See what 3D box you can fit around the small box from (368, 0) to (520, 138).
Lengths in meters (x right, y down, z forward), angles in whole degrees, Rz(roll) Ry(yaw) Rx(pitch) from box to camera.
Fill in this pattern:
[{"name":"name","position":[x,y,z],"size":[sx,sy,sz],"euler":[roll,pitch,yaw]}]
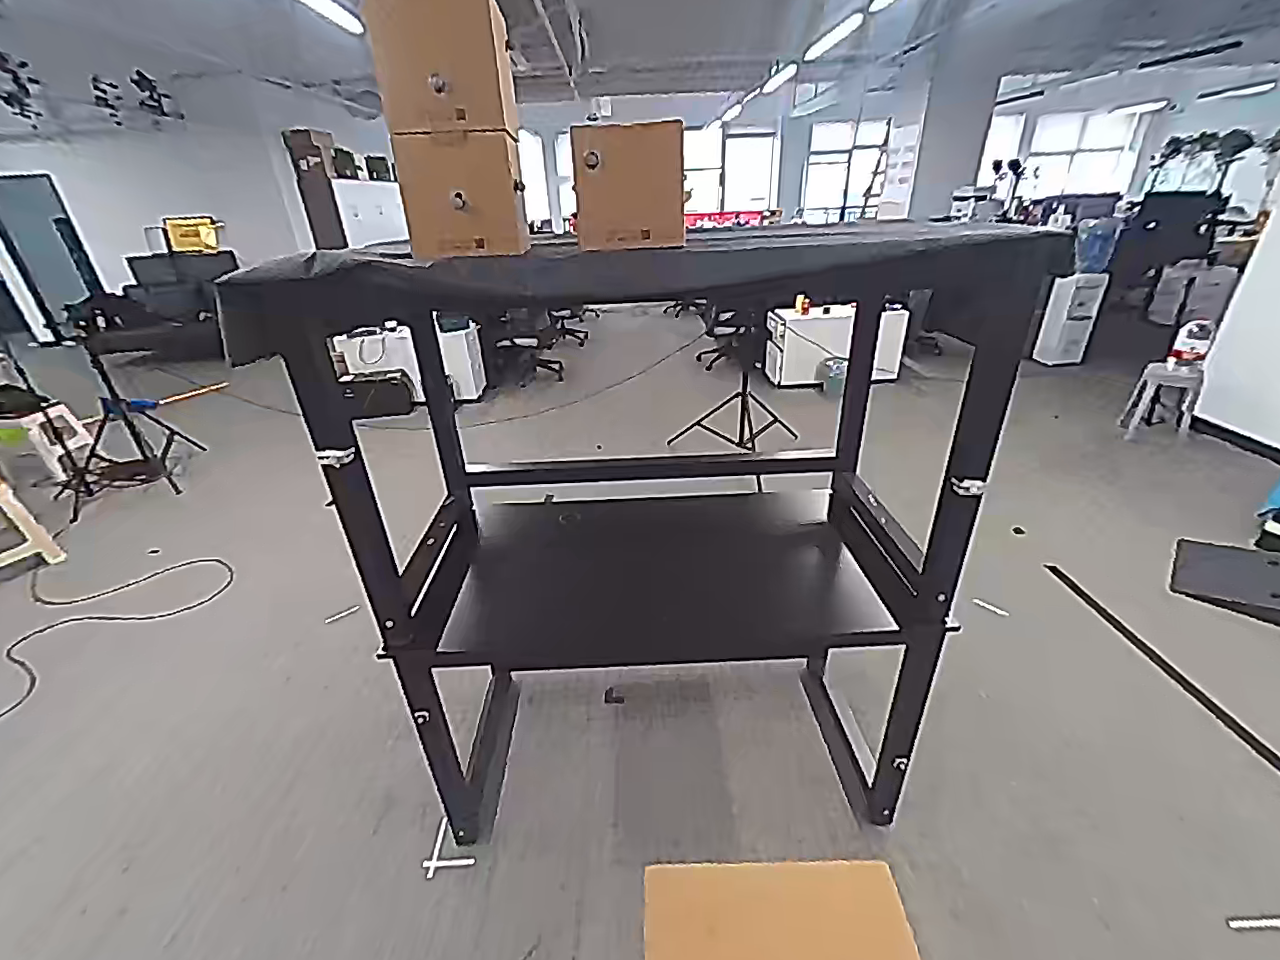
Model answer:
[{"name":"small box","position":[-0.276,-0.603,0.797],"size":[0.168,0.176,0.179],"euler":[-5,27,-3]}]

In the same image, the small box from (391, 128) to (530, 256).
[{"name":"small box","position":[-0.272,-0.454,0.868],"size":[0.168,0.176,0.179],"euler":[-4,27,-4]}]
